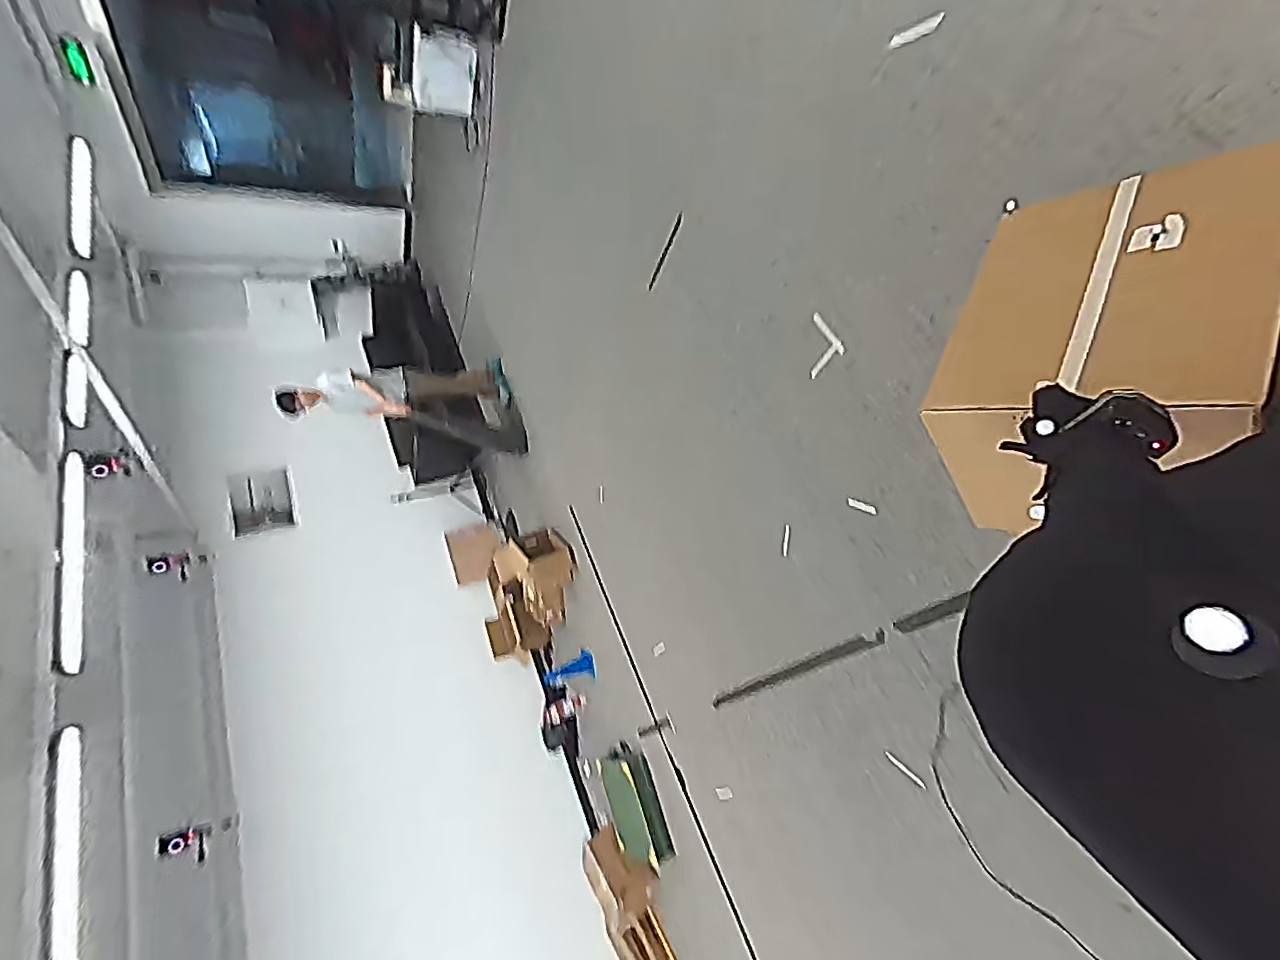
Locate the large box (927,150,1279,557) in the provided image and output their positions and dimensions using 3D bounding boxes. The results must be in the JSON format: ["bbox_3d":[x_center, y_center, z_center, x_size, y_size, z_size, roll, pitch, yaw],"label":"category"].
[{"bbox_3d":[0.675,-0.152,0.767,0.320,0.320,0.408,7,60,52],"label":"large box"}]
